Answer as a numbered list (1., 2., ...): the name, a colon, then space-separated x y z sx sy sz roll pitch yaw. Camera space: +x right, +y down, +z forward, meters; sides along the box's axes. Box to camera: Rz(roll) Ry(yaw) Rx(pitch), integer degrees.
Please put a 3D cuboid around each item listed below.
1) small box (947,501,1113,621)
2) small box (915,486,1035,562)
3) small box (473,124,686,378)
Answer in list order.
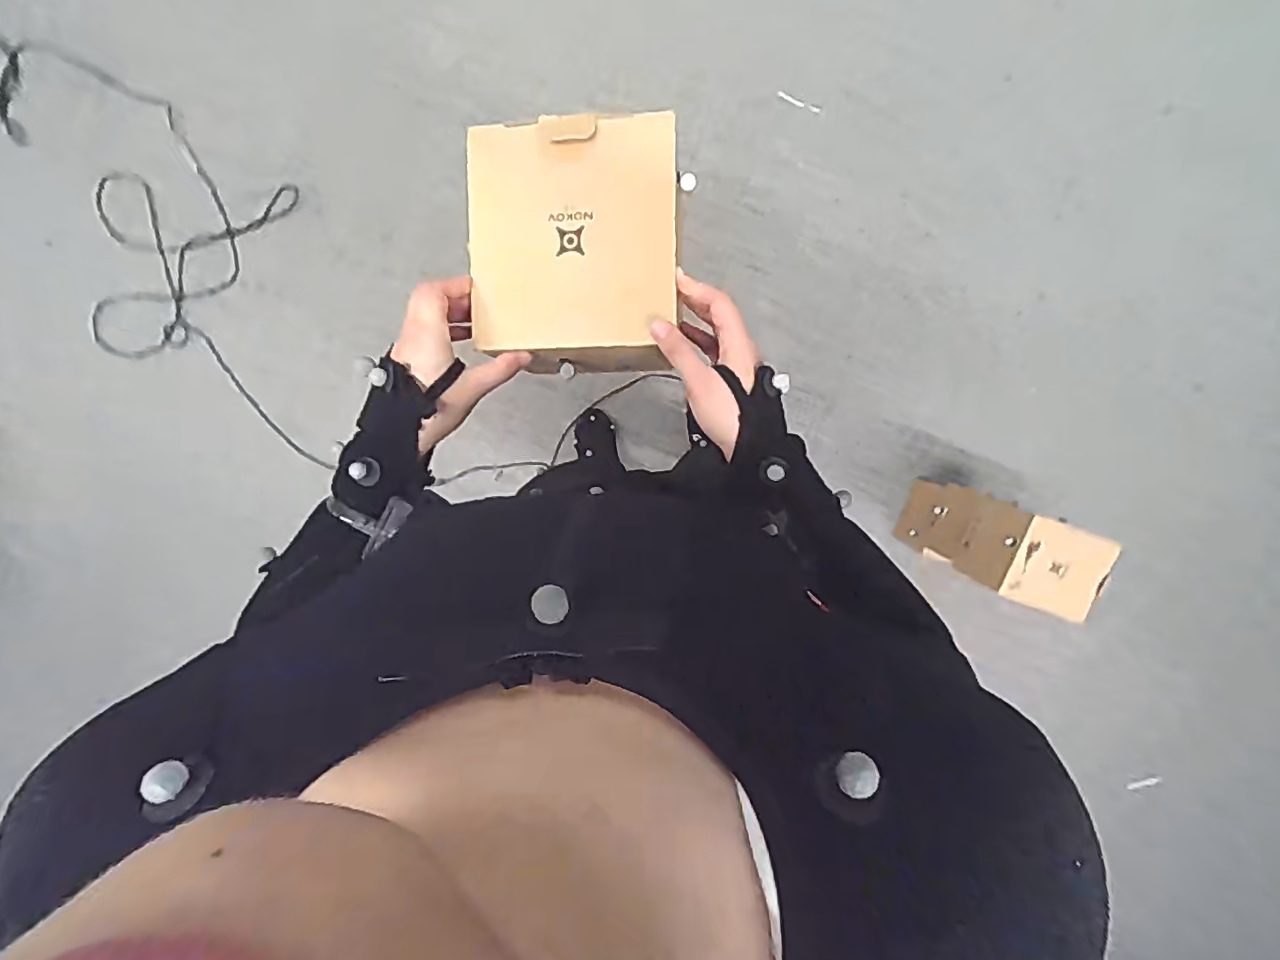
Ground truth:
1. small box: 0.771 0.154 1.088 0.179 0.176 0.168 20 98 -3
2. small box: 0.782 0.123 1.249 0.179 0.176 0.168 20 98 -1
3. small box: -0.042 -0.189 0.500 0.168 0.176 0.179 0 94 5
